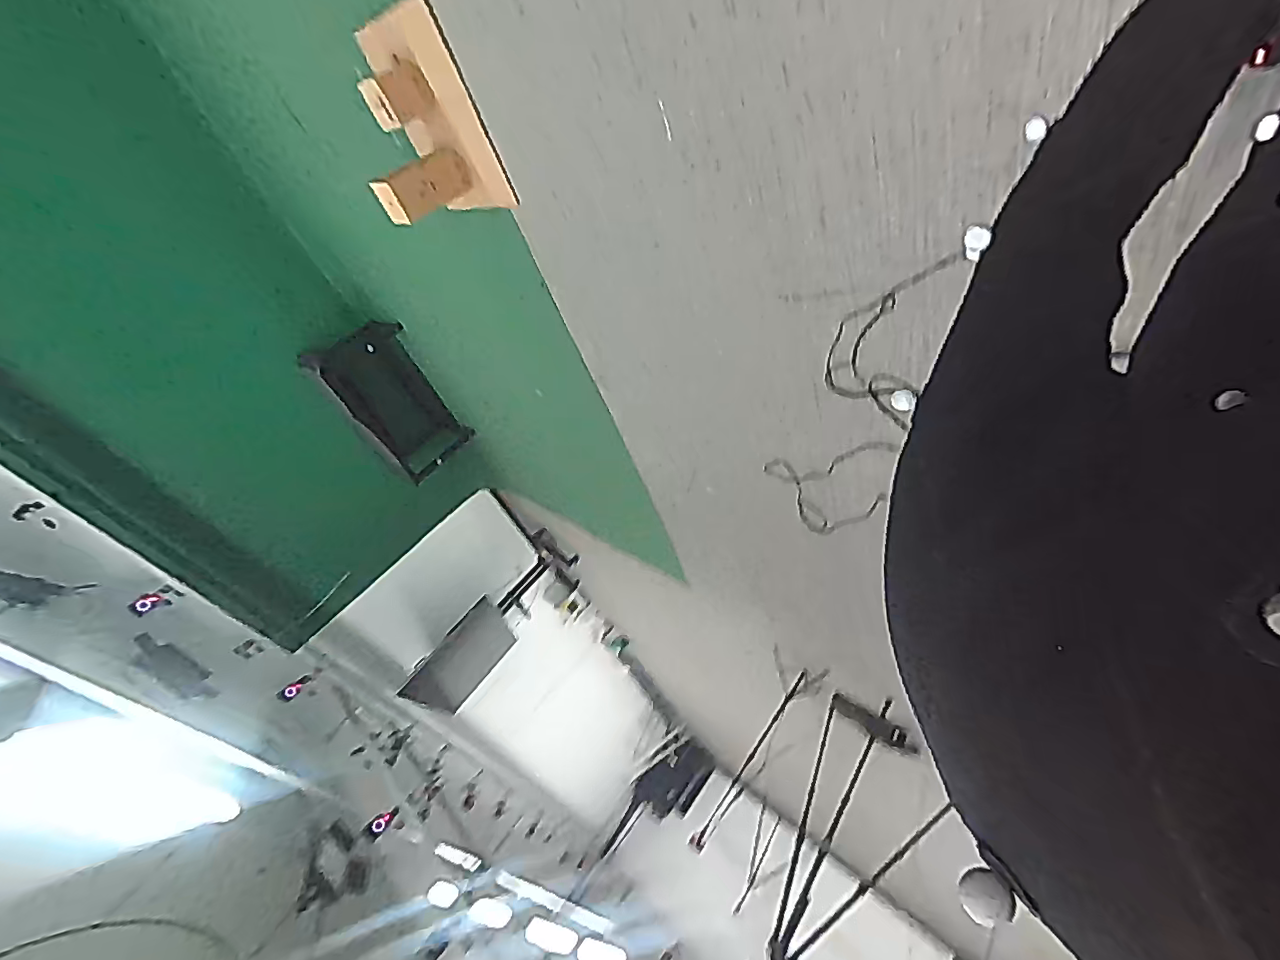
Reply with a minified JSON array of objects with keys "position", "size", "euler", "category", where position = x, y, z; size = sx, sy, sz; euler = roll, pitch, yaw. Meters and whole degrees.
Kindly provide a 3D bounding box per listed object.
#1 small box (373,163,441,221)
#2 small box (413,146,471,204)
[{"position":[-0.969,-1.207,2.262],"size":[0.179,0.176,0.168],"euler":[24,150,38],"category":"small box"},{"position":[-0.855,-1.308,2.319],"size":[0.179,0.176,0.168],"euler":[25,151,40],"category":"small box"}]
